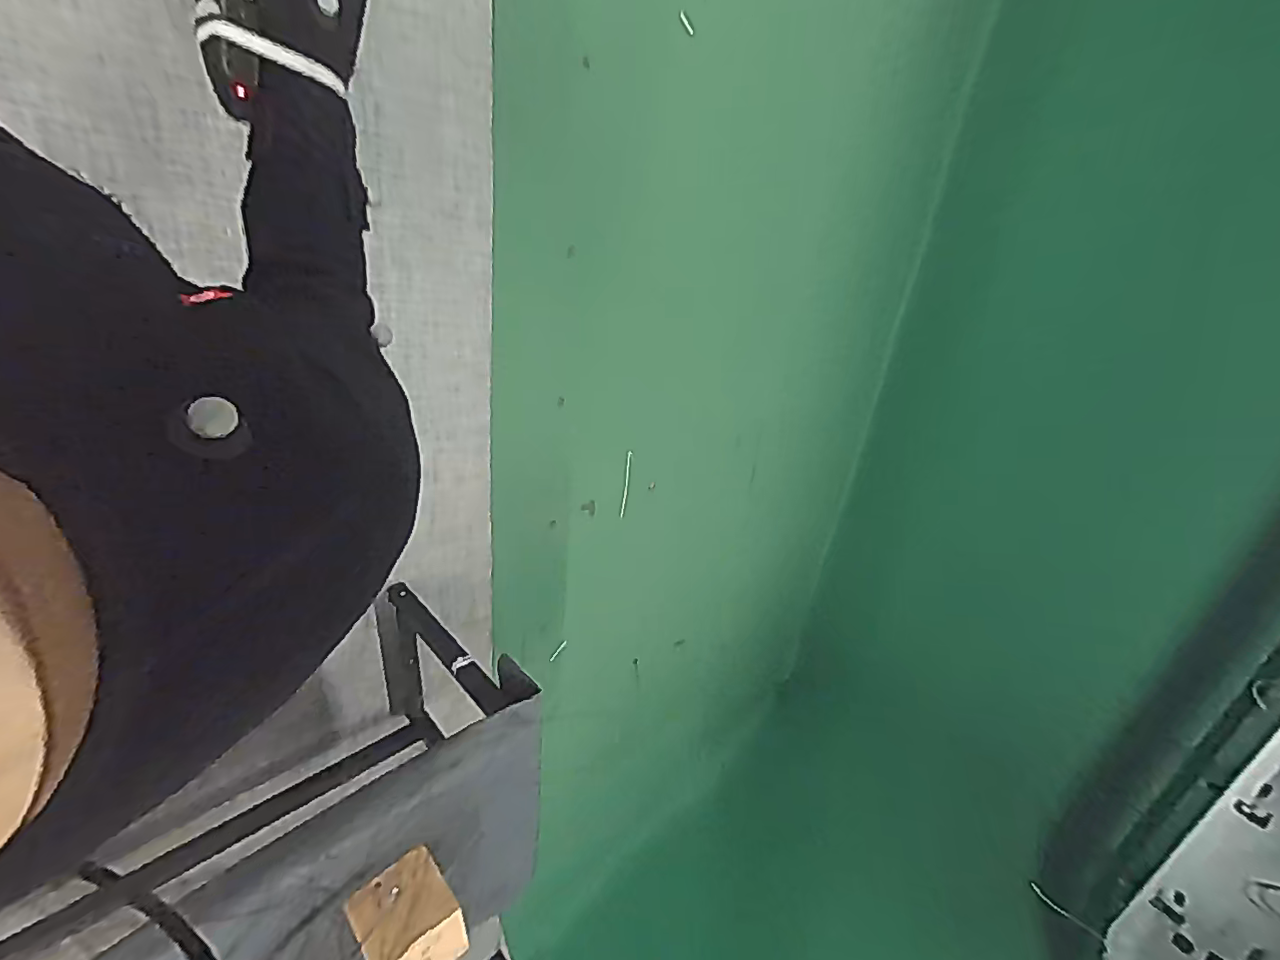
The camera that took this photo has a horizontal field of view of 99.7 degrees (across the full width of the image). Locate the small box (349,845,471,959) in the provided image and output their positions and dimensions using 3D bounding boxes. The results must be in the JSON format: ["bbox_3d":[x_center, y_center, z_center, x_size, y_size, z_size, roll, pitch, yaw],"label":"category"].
[{"bbox_3d":[-0.470,0.907,1.110,0.168,0.176,0.179,-24,128,-40],"label":"small box"}]
